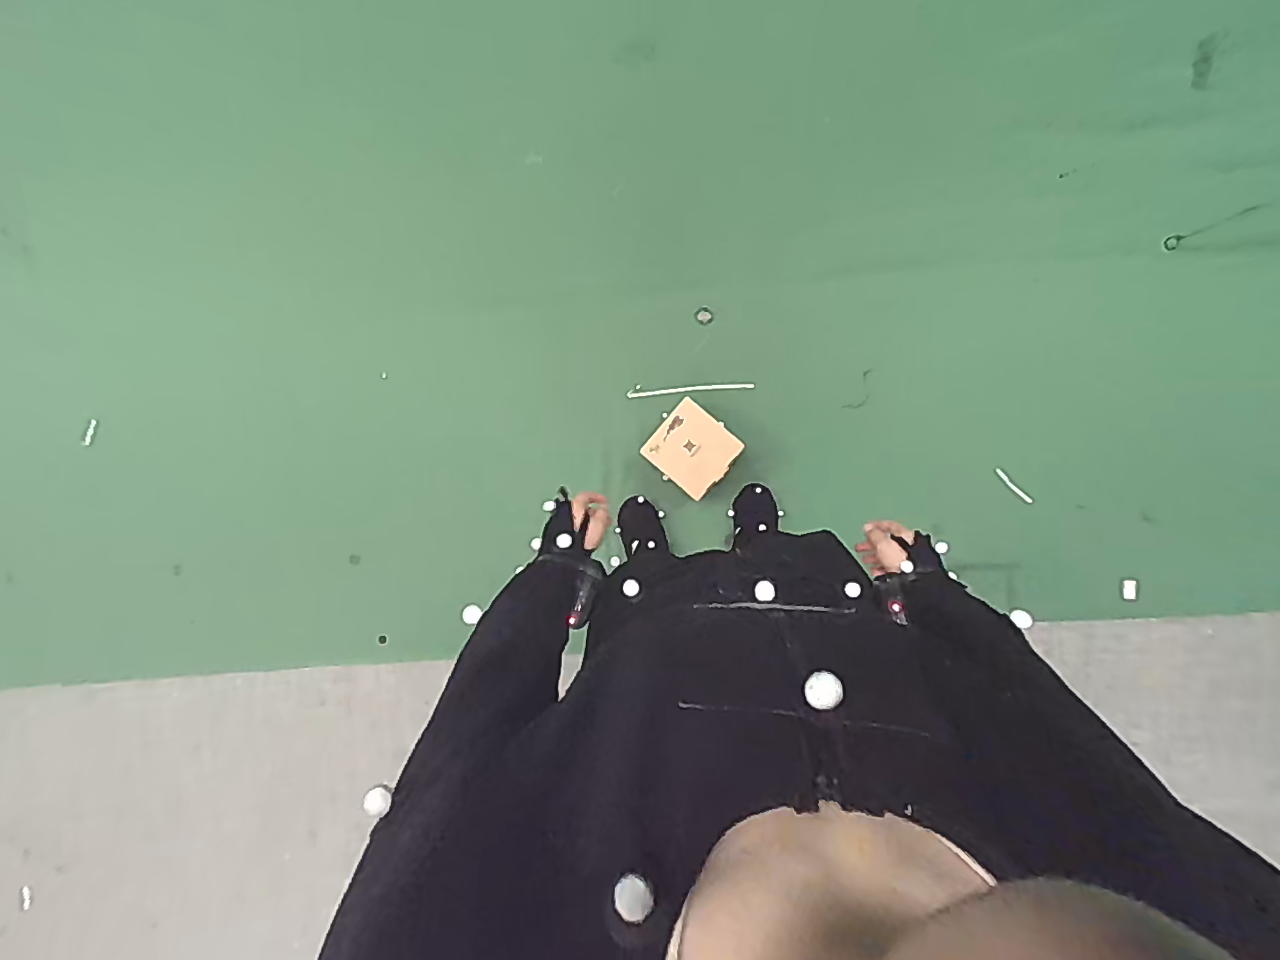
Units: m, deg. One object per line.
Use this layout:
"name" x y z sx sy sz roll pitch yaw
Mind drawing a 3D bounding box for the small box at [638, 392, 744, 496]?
"small box" 0.116 -0.086 1.269 0.179 0.176 0.168 41 94 0
